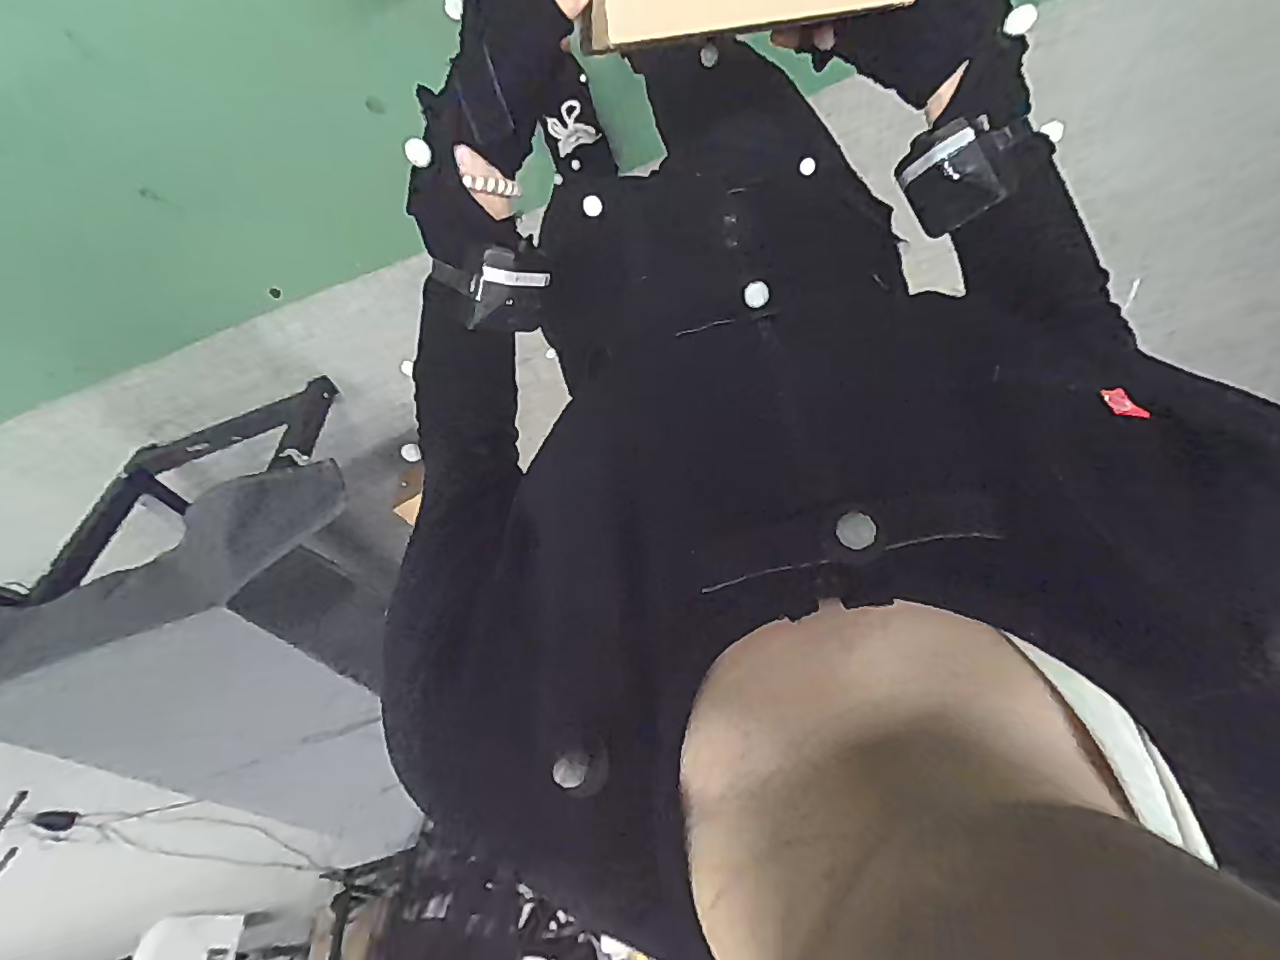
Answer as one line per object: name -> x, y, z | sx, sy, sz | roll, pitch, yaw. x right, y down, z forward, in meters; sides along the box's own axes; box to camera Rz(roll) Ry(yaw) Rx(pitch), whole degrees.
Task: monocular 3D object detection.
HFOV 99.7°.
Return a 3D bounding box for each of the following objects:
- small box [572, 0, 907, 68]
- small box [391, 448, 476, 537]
small box -> 0.040, -0.343, 0.292 | 0.168, 0.176, 0.179 | -11, 128, -4
small box -> -0.615, 0.037, 1.638 | 0.179, 0.176, 0.168 | -28, 134, 13
